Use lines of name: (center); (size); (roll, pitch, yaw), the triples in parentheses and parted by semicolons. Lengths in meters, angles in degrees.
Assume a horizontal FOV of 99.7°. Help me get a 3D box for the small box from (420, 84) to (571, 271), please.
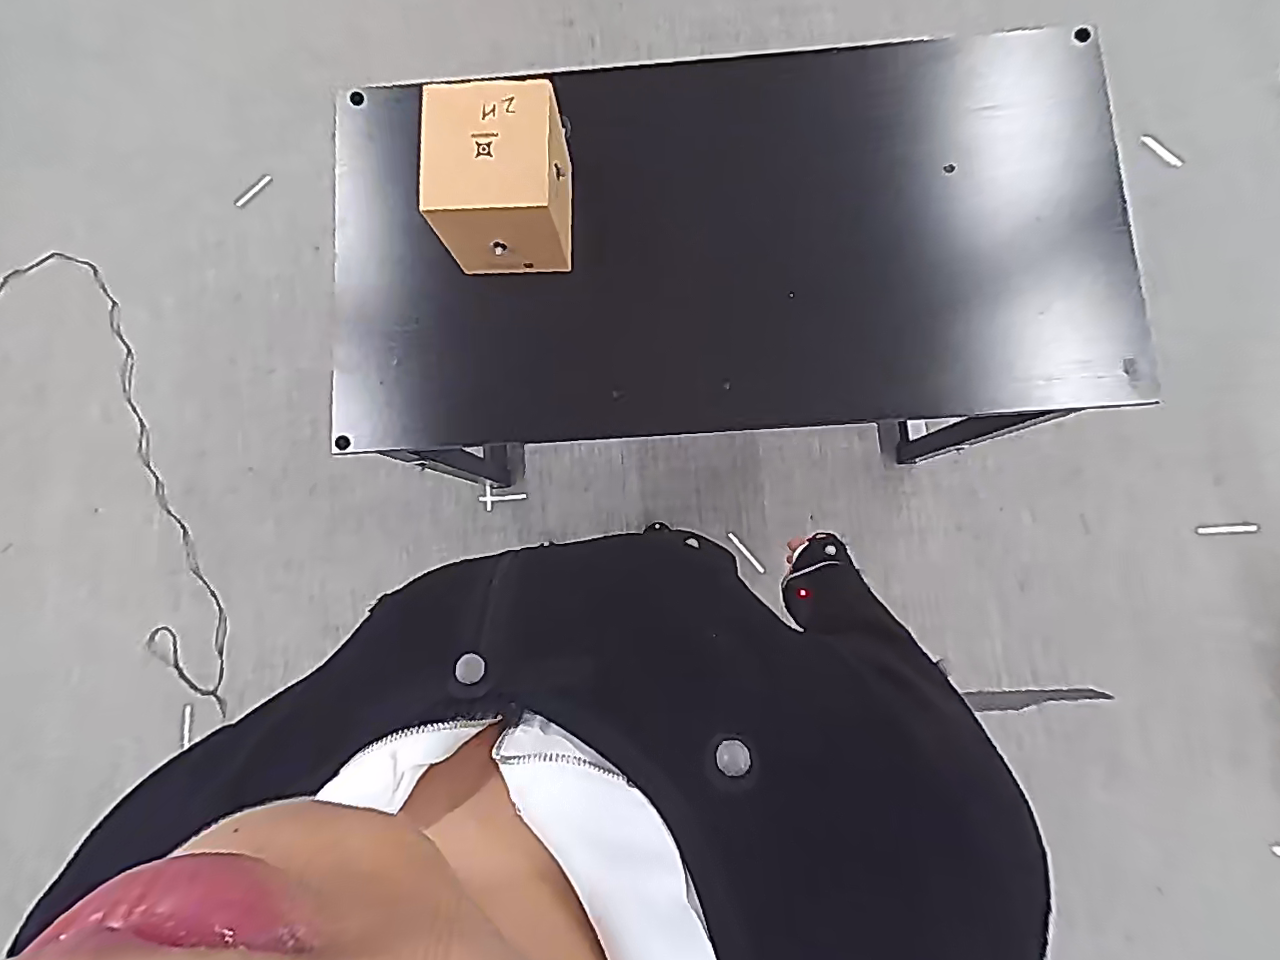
small box: (-0.192, -0.412, 0.766); (0.168, 0.176, 0.179); (-1, 83, 2)
